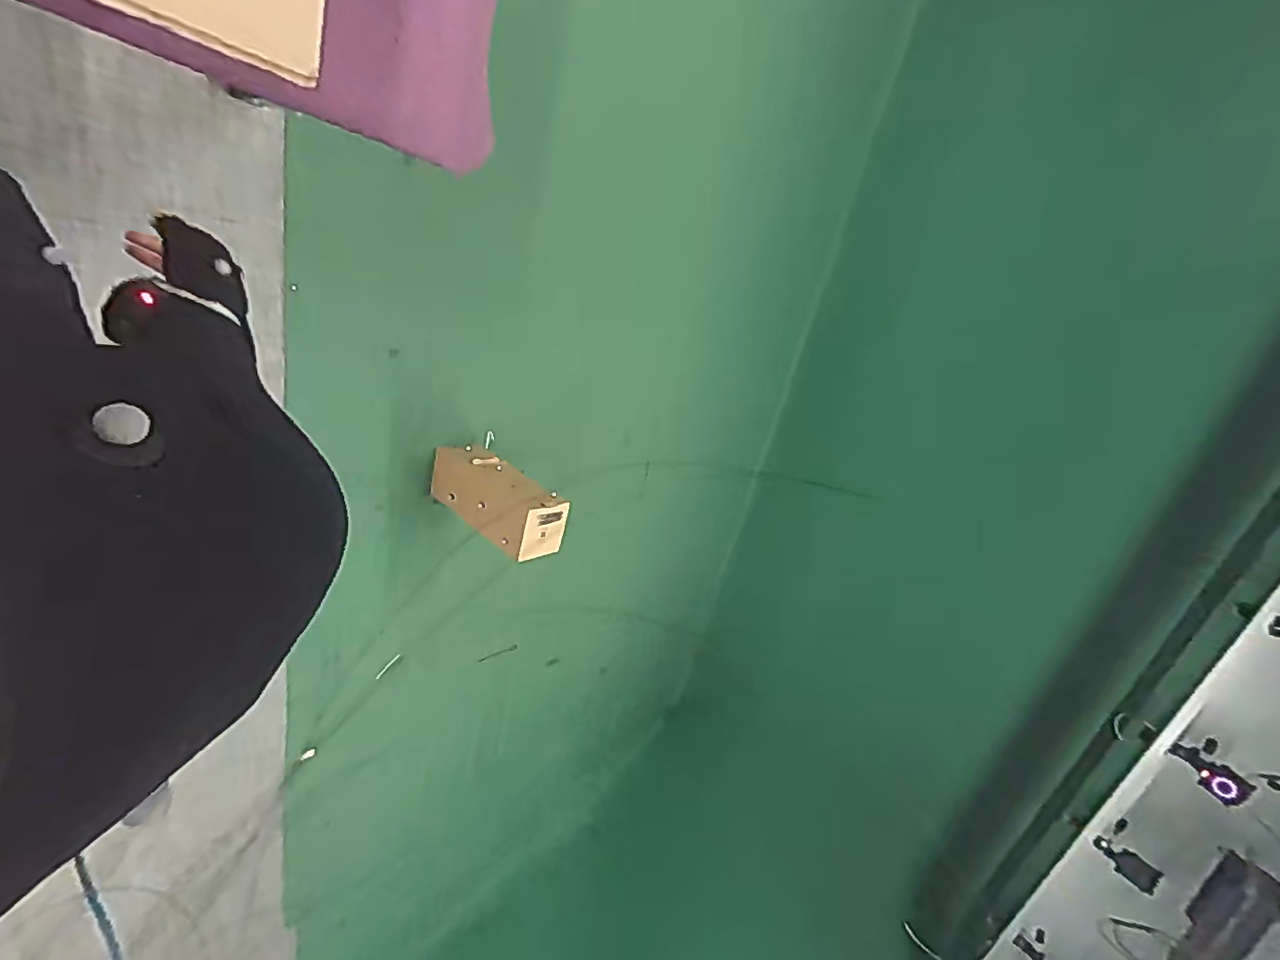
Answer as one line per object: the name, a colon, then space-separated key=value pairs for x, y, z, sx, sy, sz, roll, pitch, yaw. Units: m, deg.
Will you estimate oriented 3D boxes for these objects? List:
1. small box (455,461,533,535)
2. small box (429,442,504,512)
small box: x=-0.477 y=0.052 z=1.750 sx=0.168 sy=0.176 sz=0.179 roll=-10 pitch=121 yaw=-52
small box: x=-0.595 y=-0.015 z=1.840 sx=0.168 sy=0.176 sz=0.179 roll=-11 pitch=123 yaw=-52
